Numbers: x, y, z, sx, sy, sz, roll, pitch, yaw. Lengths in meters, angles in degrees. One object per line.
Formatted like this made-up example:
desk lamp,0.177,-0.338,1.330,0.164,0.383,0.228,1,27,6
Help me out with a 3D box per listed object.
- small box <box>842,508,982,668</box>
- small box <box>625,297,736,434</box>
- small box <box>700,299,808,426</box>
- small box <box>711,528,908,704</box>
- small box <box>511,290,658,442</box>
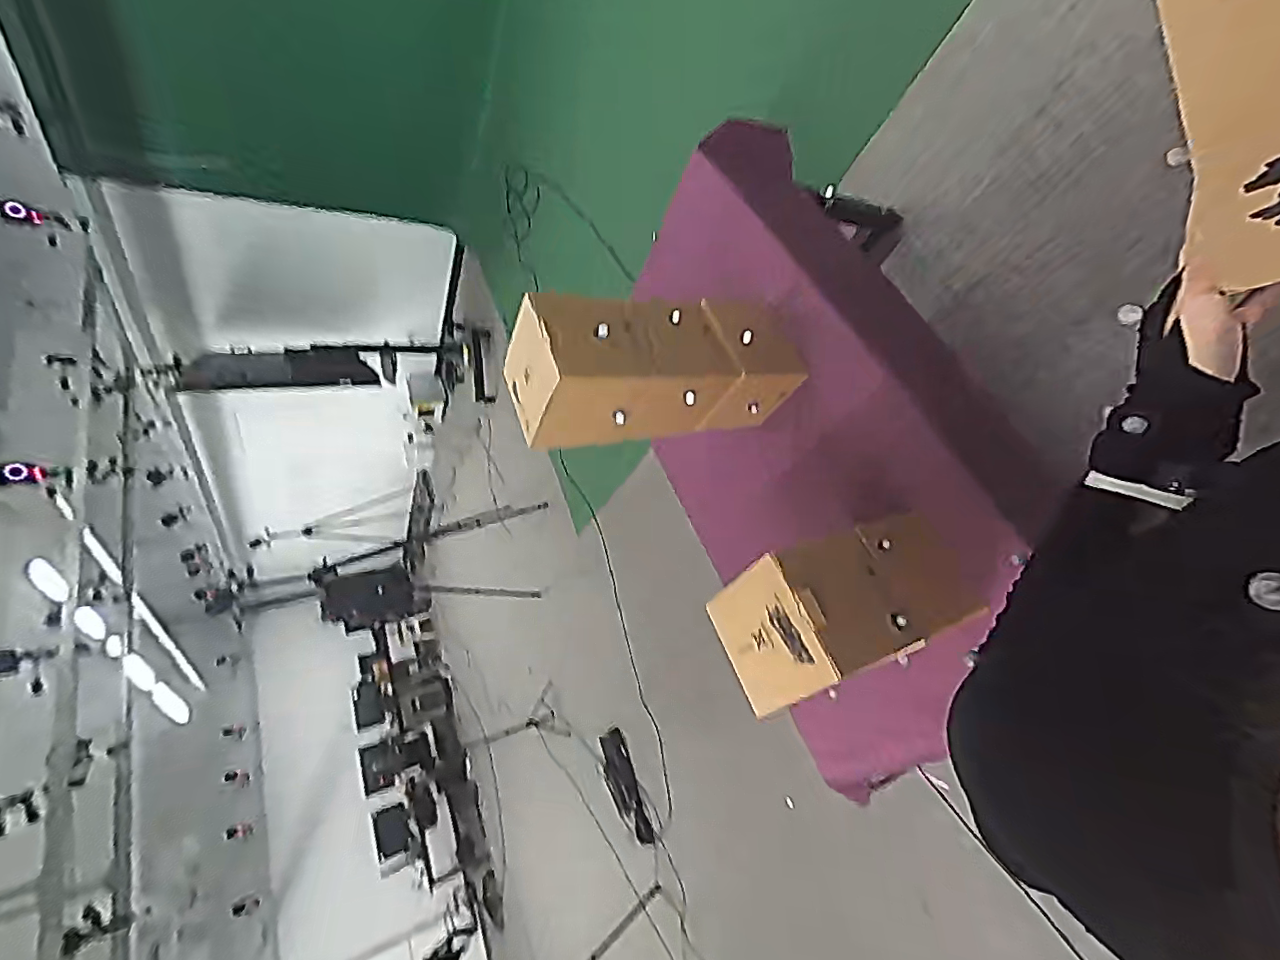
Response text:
small box,0.376,0.161,0.835,0.168,0.176,0.179,-56,50,48
small box,0.049,-0.202,0.965,0.179,0.176,0.168,-51,54,51
small box,0.189,-0.226,1.044,0.168,0.176,0.179,-50,55,50
small box,0.236,0.184,0.752,0.168,0.176,0.179,66,146,26
small box,-0.089,-0.180,0.878,0.179,0.176,0.168,-51,53,49
